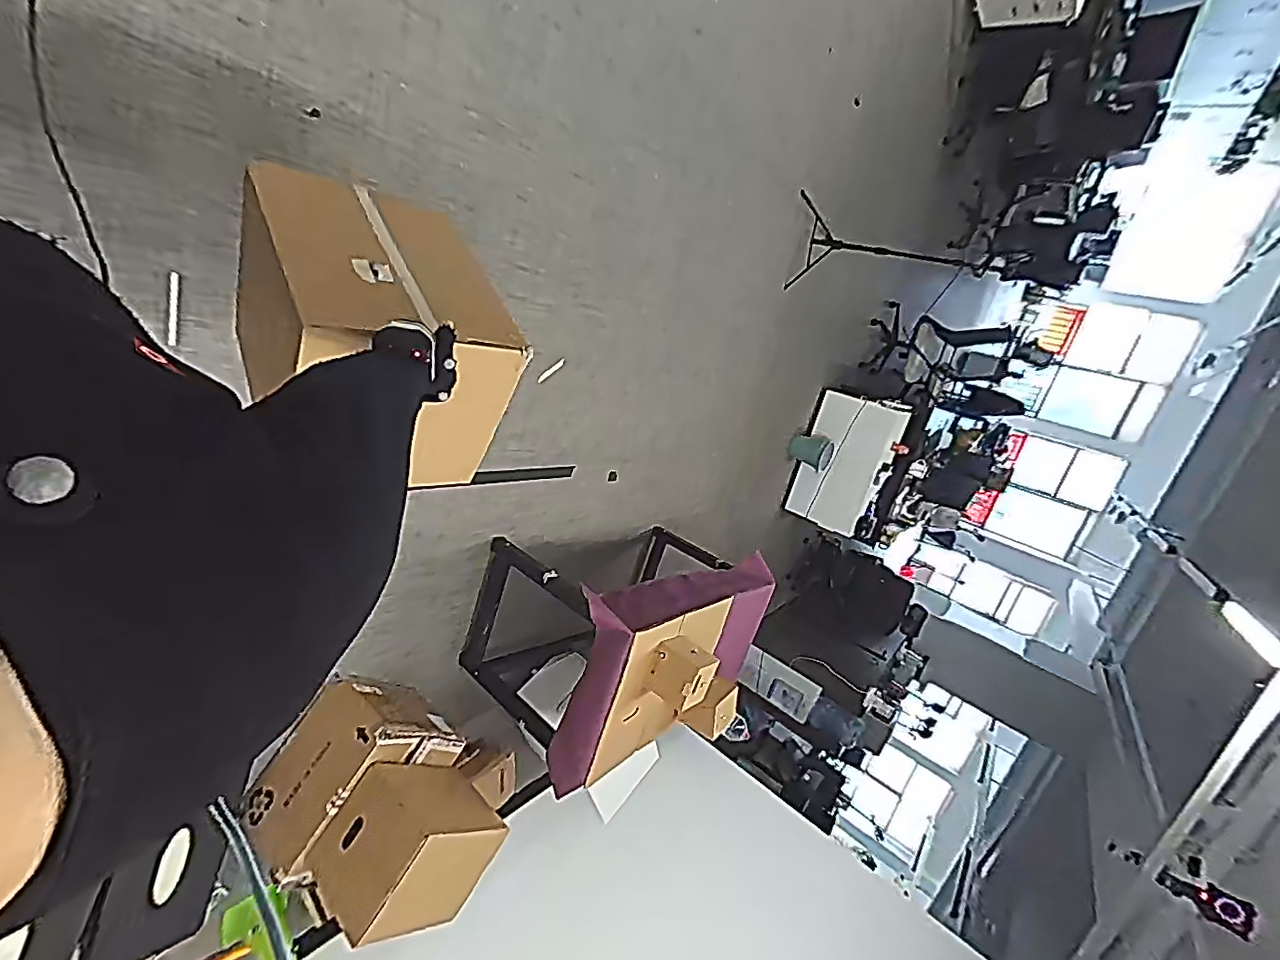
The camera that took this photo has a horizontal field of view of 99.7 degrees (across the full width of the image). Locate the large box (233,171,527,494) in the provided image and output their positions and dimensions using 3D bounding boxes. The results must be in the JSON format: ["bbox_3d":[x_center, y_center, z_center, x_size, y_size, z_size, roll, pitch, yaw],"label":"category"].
[{"bbox_3d":[-0.461,-0.232,0.923,0.320,0.408,0.320,-6,143,-44],"label":"large box"}]
